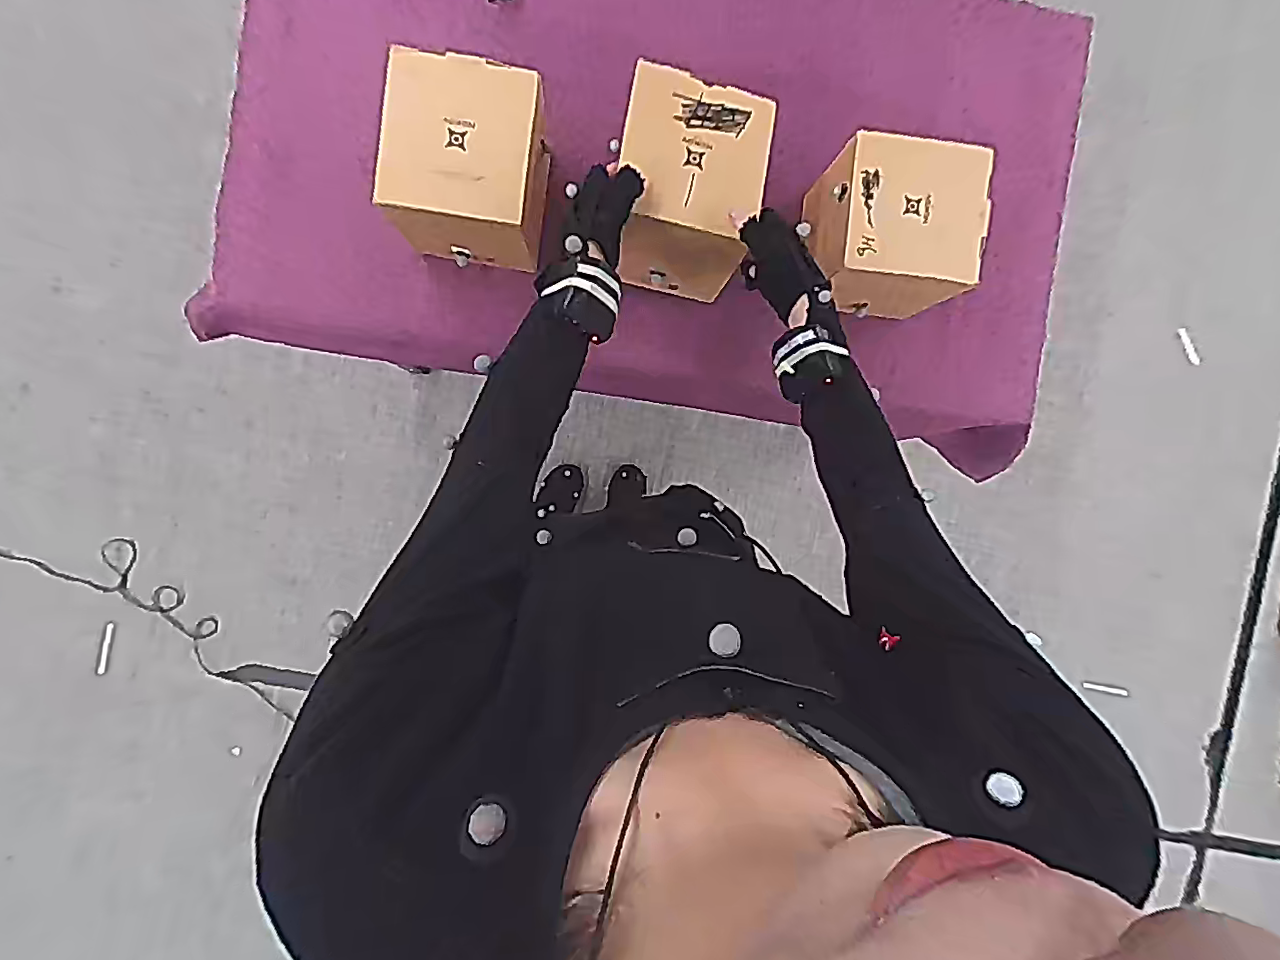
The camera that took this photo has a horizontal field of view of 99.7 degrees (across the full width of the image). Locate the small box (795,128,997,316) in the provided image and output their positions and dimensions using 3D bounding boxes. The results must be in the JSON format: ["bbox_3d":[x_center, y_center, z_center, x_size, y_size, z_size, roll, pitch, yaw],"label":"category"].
[{"bbox_3d":[0.331,-0.329,0.728,0.179,0.176,0.168,6,92,-6],"label":"small box"}]

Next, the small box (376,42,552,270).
[{"bbox_3d":[-0.206,-0.388,0.679,0.168,0.176,0.179,7,93,-4],"label":"small box"}]

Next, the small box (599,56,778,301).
[{"bbox_3d":[0.049,-0.350,0.663,0.168,0.176,0.179,11,83,-9],"label":"small box"}]
